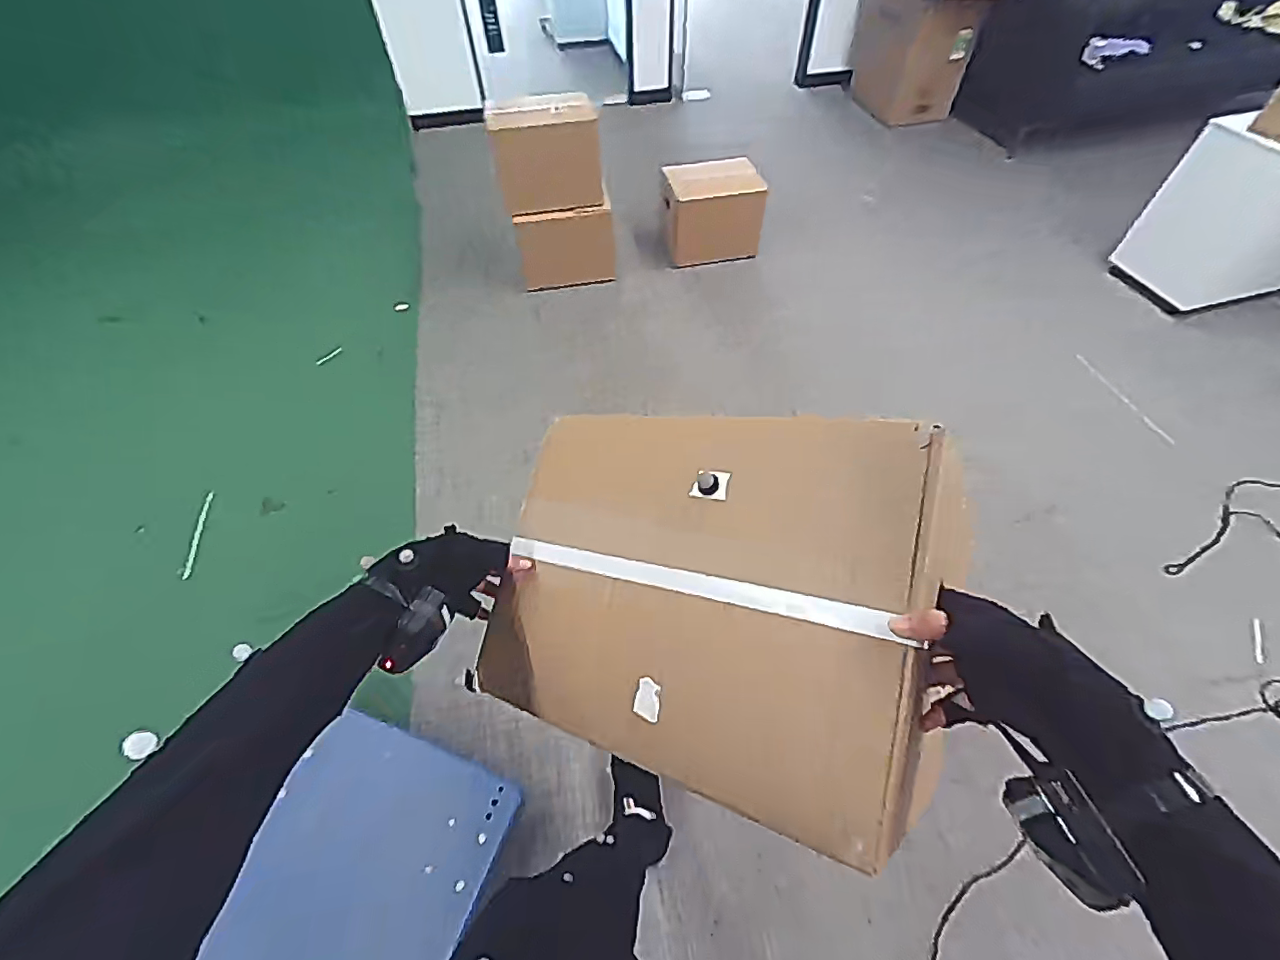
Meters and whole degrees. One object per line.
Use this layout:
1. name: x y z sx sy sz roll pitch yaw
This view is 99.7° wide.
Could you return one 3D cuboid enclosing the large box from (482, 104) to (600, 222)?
1. large box: -0.390 -1.265 2.156 0.408 0.320 0.320 -10 51 -8
